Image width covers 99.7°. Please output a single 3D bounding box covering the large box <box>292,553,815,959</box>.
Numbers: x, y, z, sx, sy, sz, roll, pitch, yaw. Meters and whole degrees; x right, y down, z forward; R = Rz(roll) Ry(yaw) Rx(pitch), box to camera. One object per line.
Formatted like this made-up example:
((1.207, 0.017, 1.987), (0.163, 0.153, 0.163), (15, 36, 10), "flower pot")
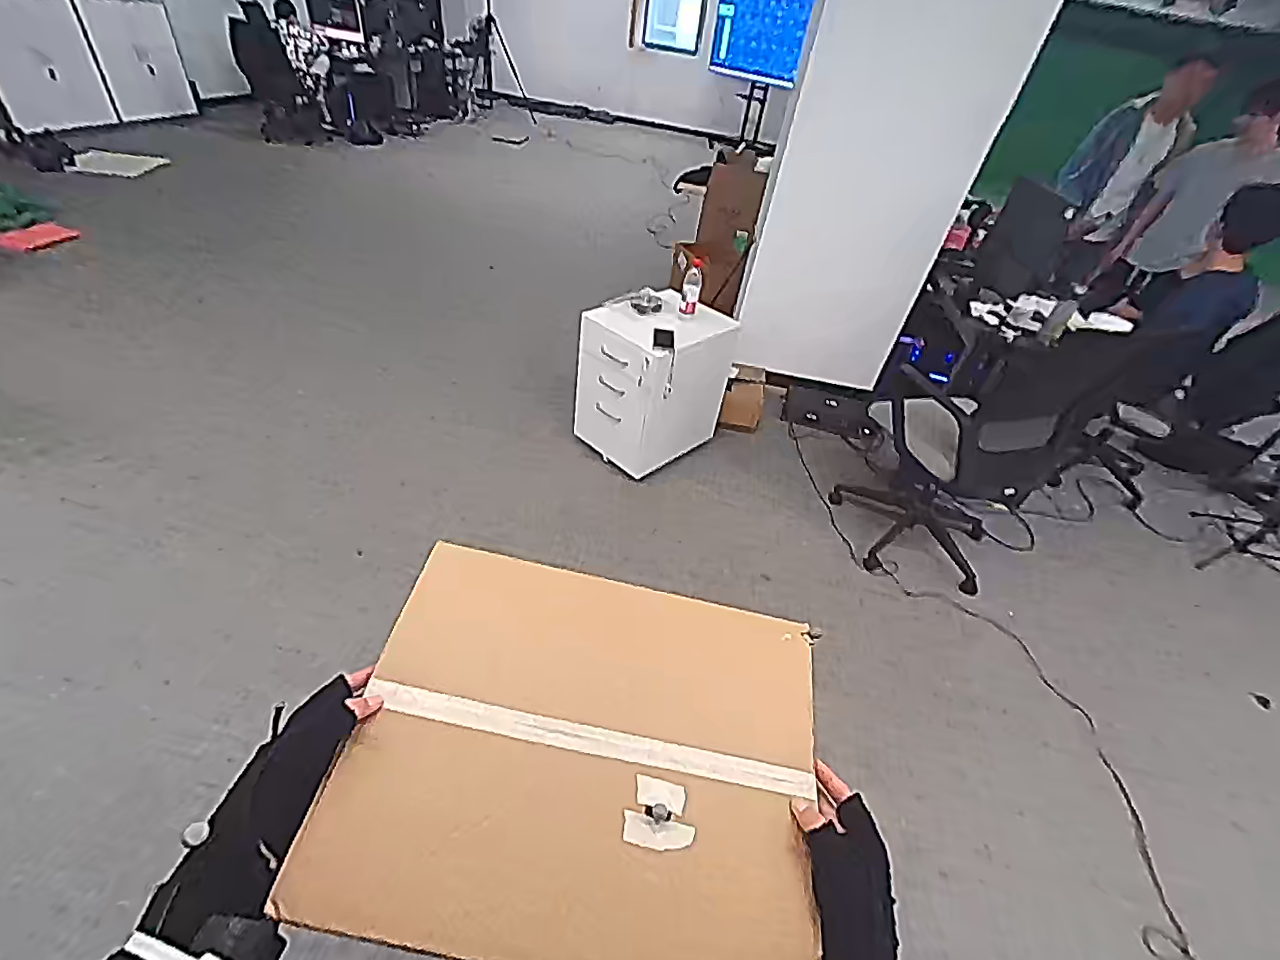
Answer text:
((-0.066, 0.323, 0.607), (0.408, 0.320, 0.320), (13, 52, -2), "large box")
